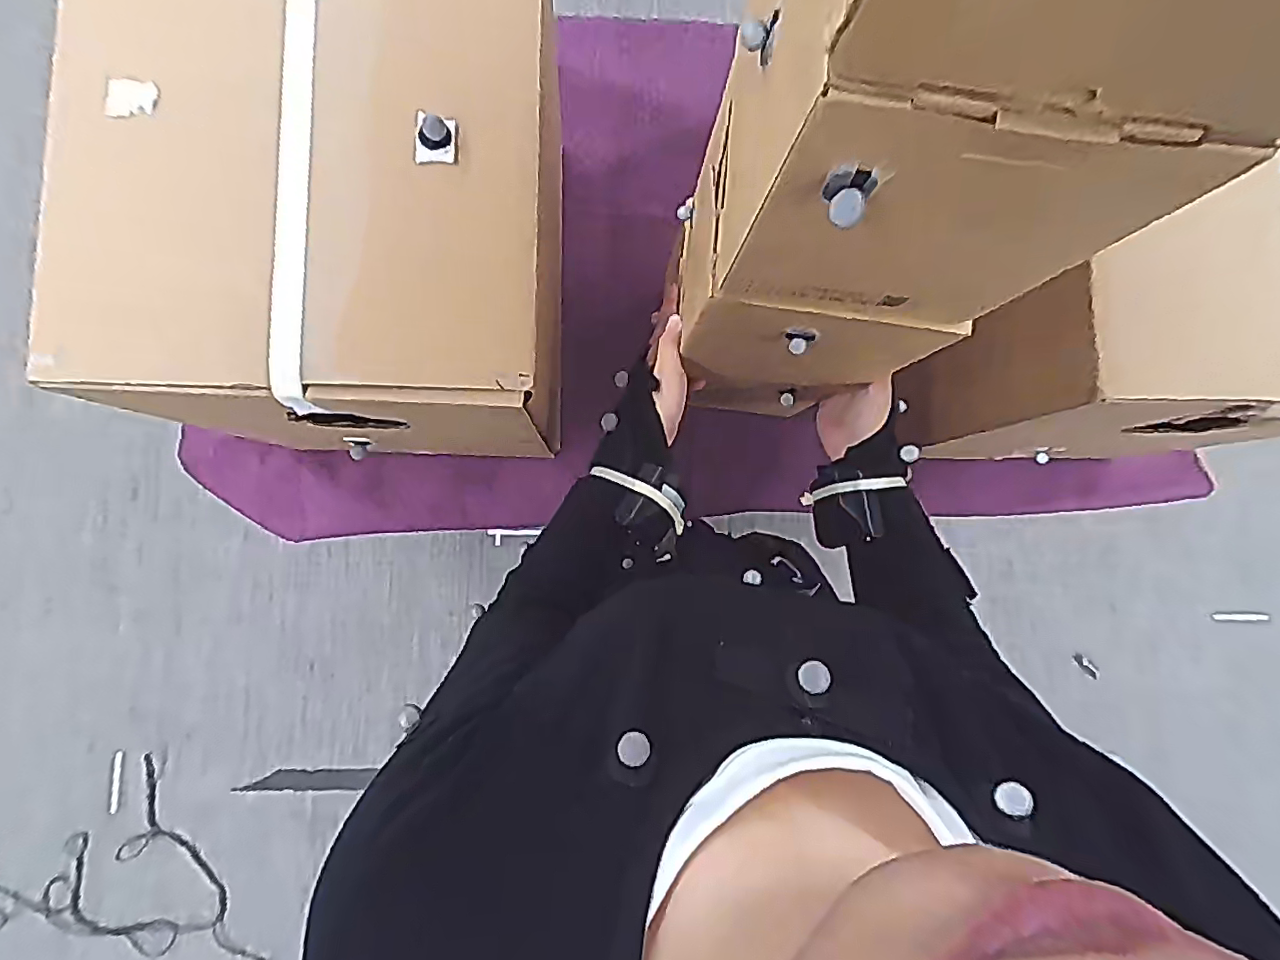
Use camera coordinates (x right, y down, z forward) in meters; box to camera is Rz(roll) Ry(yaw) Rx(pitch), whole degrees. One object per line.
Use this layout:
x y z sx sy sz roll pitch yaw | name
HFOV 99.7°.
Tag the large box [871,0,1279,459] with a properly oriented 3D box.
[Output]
0.464 -0.242 0.555 0.320 0.320 0.408 0 84 -4 | large box
